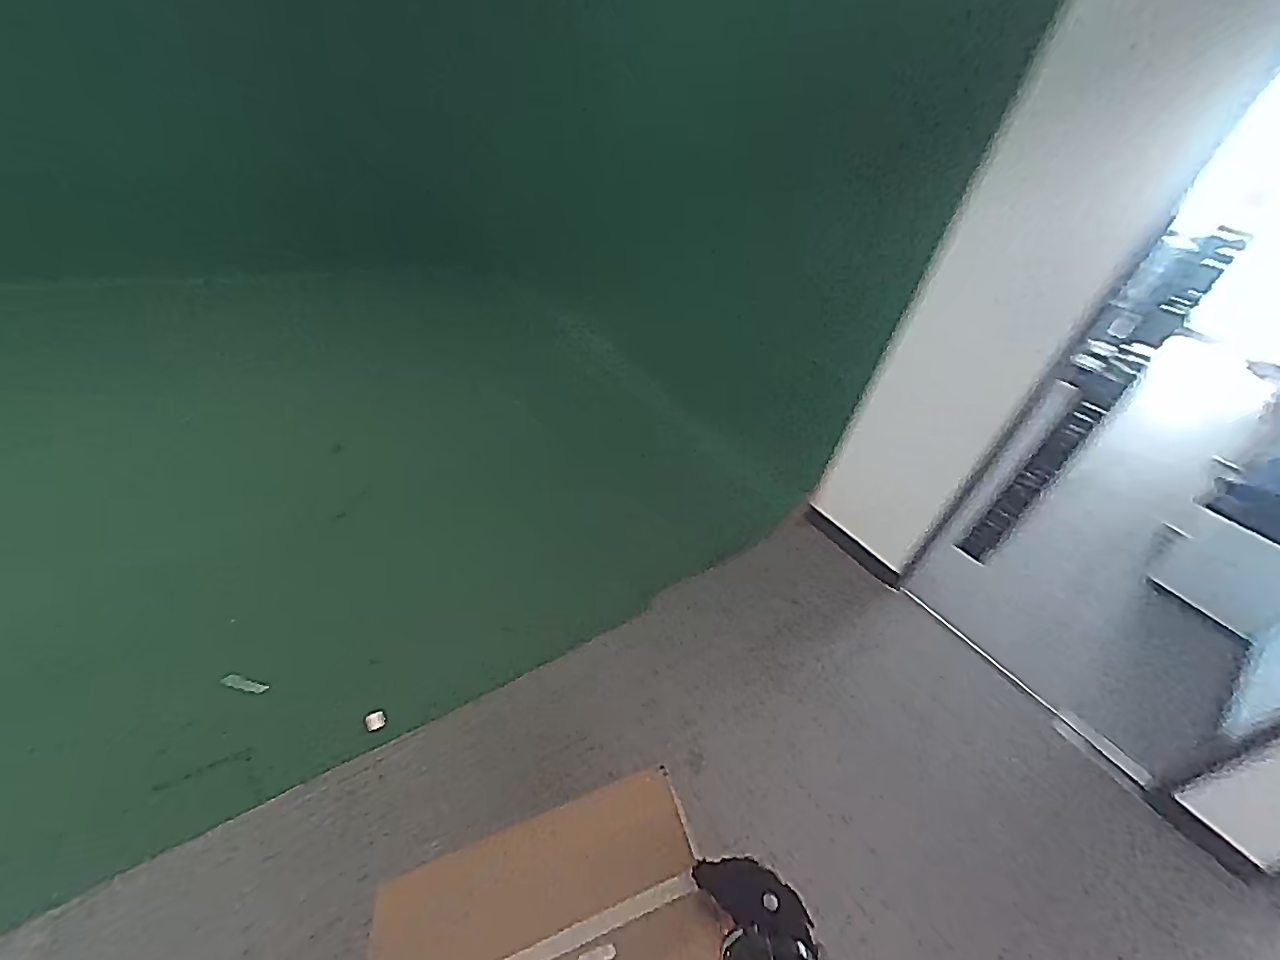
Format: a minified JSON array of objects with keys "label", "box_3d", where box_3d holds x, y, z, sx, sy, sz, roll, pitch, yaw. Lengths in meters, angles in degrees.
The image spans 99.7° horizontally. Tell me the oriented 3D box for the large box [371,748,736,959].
[{"label":"large box","box_3d":[-0.087,0.646,0.701,0.408,0.320,0.320,-20,33,-9]}]
